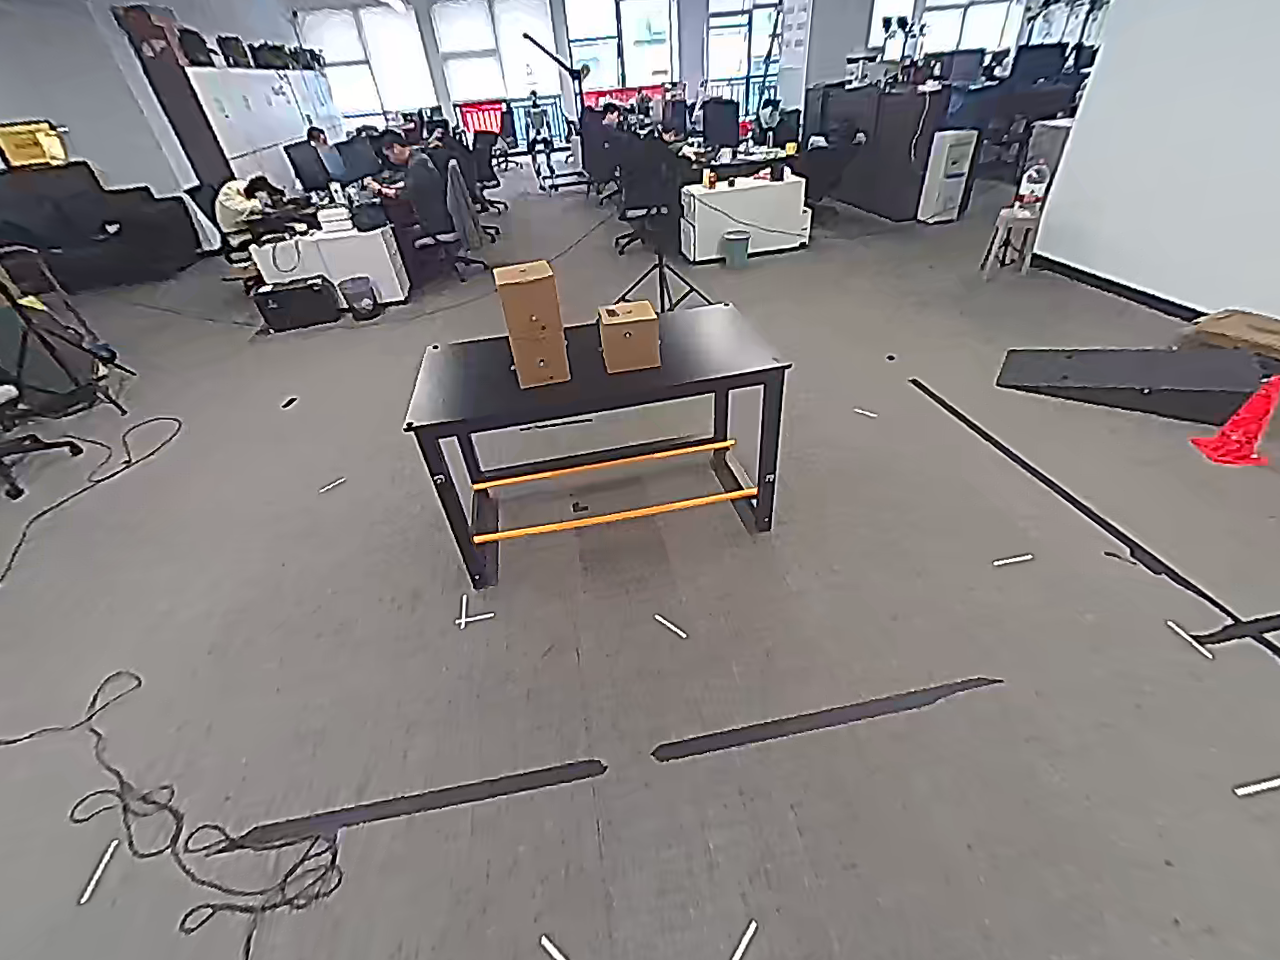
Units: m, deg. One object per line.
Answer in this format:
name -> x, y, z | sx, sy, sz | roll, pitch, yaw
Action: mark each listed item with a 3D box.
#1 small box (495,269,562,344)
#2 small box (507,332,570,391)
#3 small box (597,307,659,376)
small box -> -0.345, -0.538, 1.676 | 0.168, 0.176, 0.179 | -14, 38, -10
small box -> -0.331, -0.404, 1.772 | 0.168, 0.176, 0.179 | -13, 38, -9
small box -> -0.039, -0.460, 1.804 | 0.179, 0.176, 0.168 | -9, 37, -5
